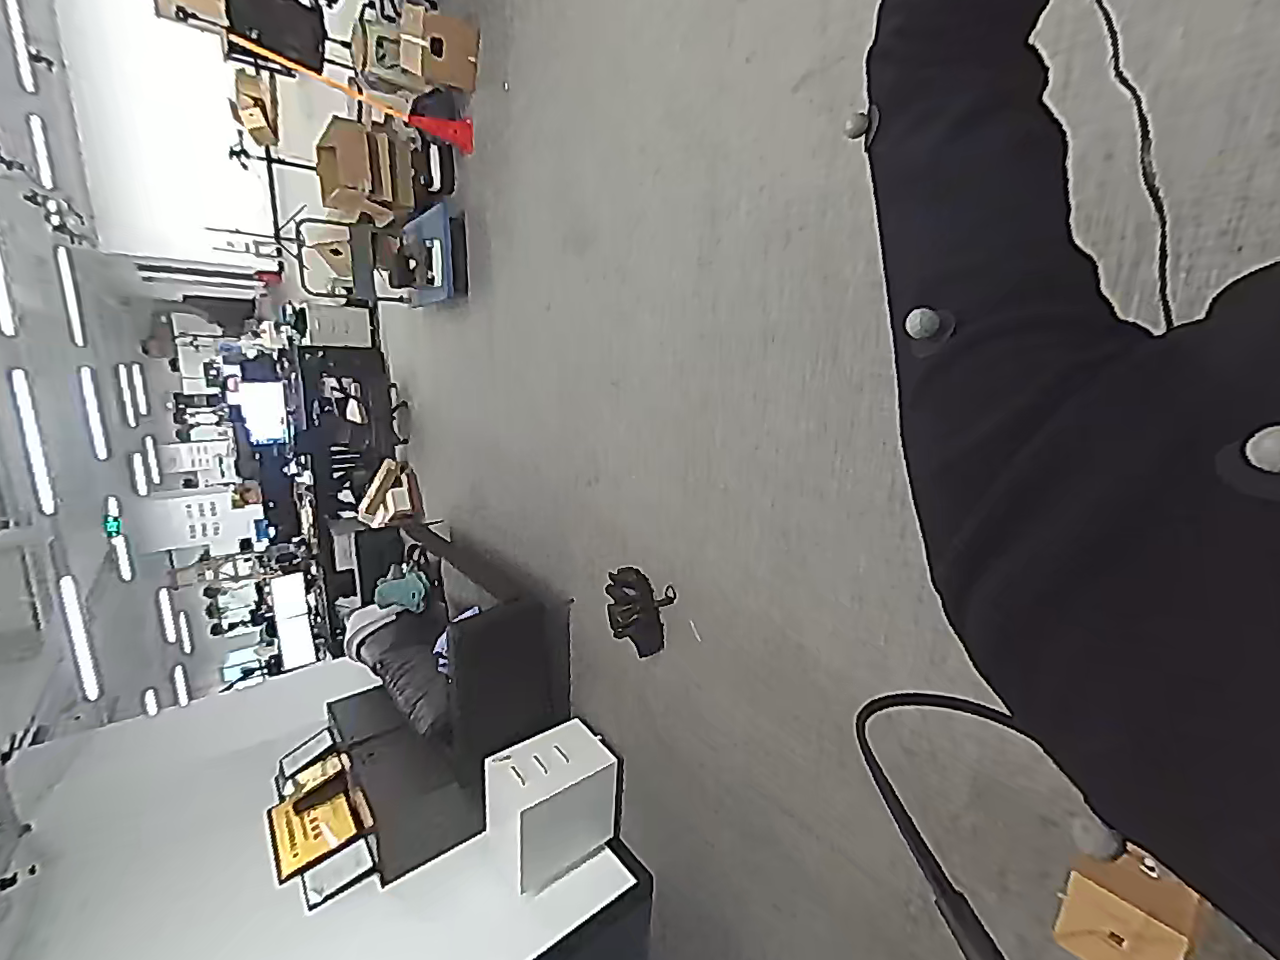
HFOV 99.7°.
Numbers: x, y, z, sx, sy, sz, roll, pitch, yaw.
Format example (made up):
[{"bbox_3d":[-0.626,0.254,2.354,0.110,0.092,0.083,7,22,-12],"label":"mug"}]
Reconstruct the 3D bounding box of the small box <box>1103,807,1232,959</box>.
[{"bbox_3d":[1.066,0.816,1.112,0.179,0.176,0.168,18,111,48],"label":"small box"}]

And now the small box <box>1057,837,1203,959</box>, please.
[{"bbox_3d":[0.931,0.840,1.027,0.168,0.176,0.179,16,109,48],"label":"small box"}]
